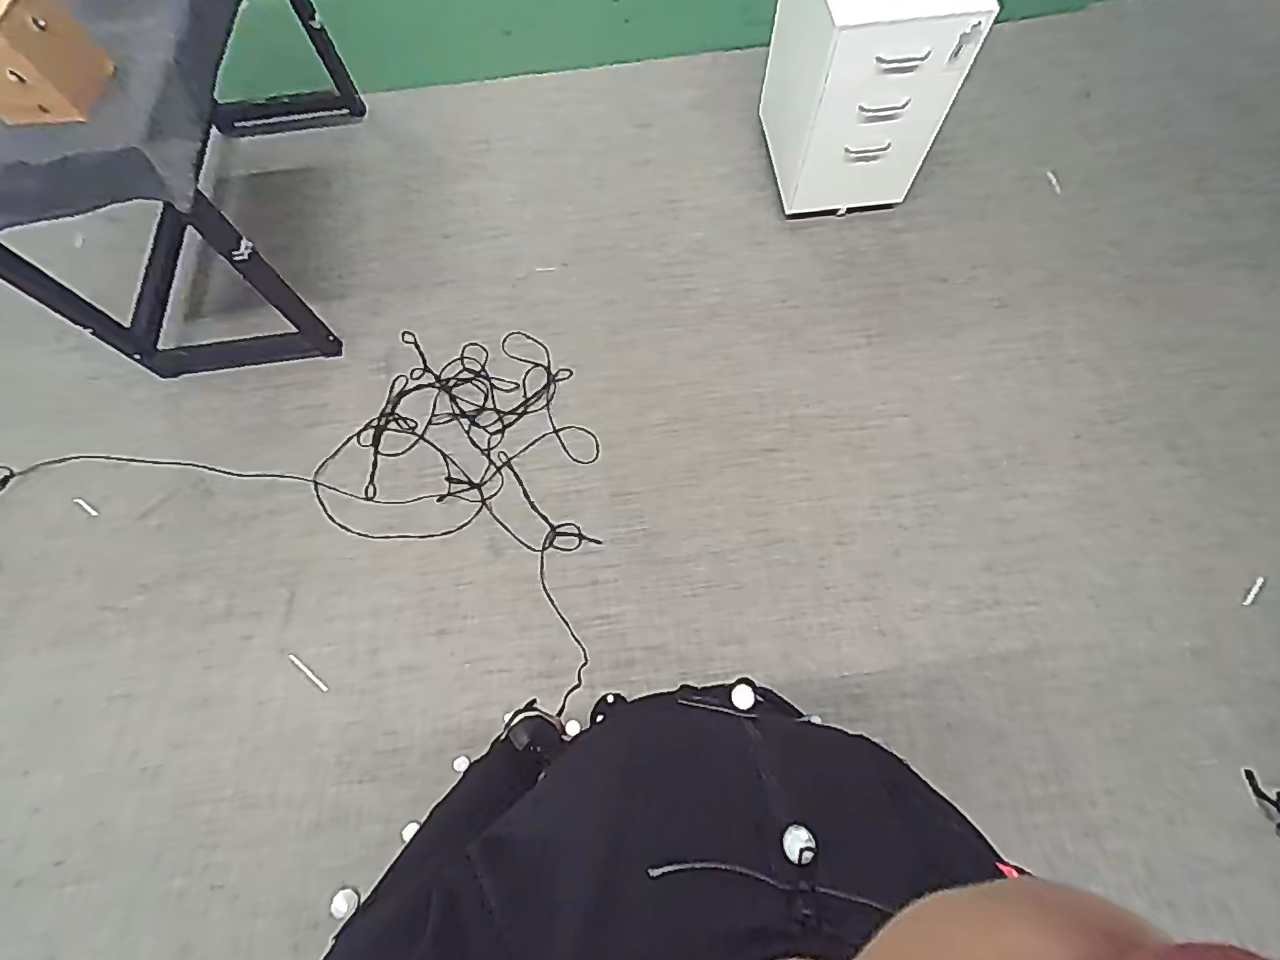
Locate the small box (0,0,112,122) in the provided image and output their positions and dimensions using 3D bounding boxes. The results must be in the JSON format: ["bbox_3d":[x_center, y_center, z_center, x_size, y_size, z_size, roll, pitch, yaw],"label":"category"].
[{"bbox_3d":[-1.168,-0.806,1.017,0.168,0.176,0.179,-1,68,1],"label":"small box"}]
